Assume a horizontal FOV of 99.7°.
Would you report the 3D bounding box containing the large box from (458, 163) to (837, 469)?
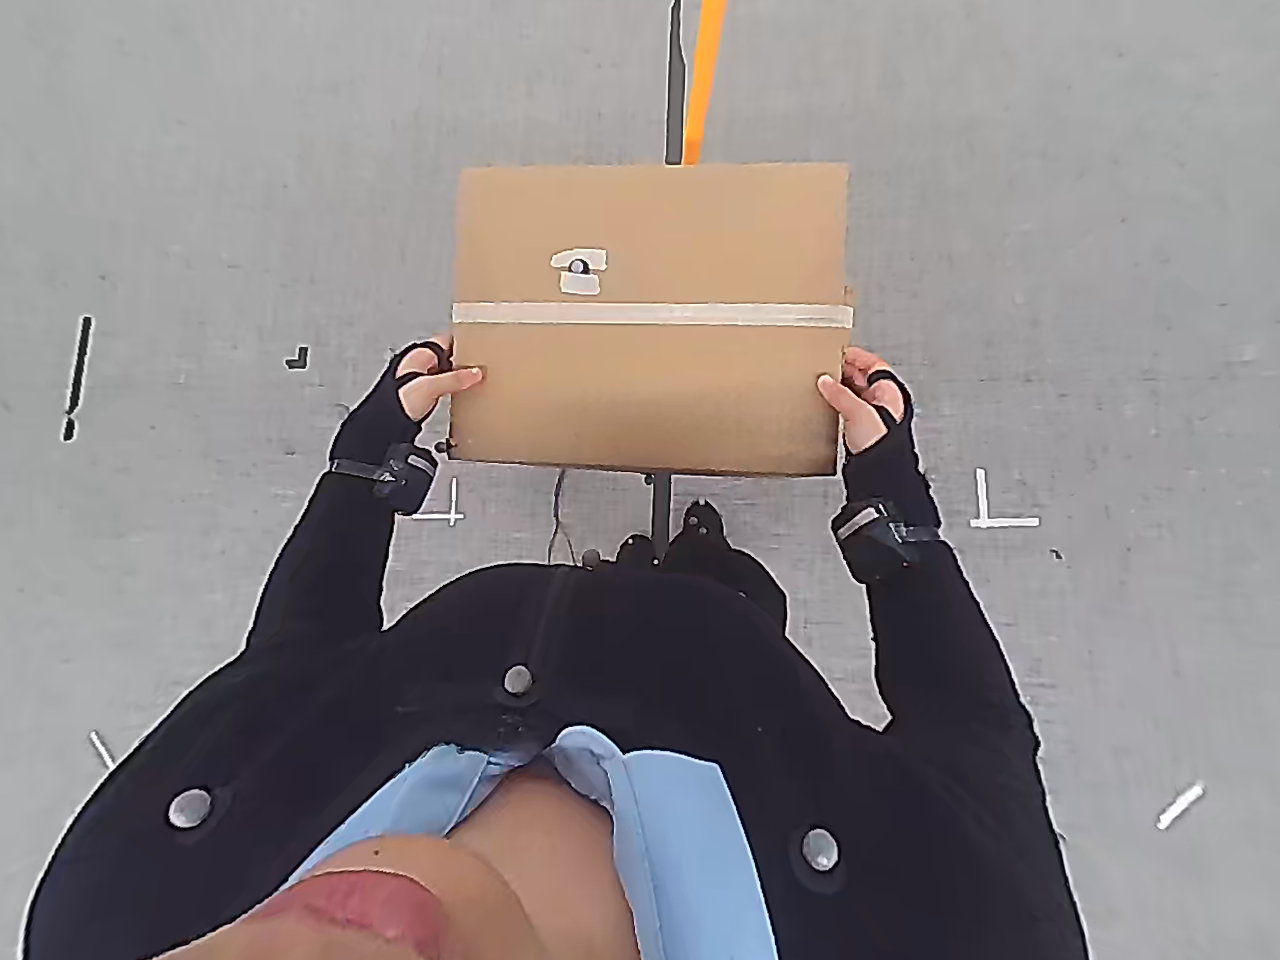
[{"bbox_3d":[0.020,-0.173,0.718,0.408,0.320,0.320,2,89,7],"label":"large box"}]
